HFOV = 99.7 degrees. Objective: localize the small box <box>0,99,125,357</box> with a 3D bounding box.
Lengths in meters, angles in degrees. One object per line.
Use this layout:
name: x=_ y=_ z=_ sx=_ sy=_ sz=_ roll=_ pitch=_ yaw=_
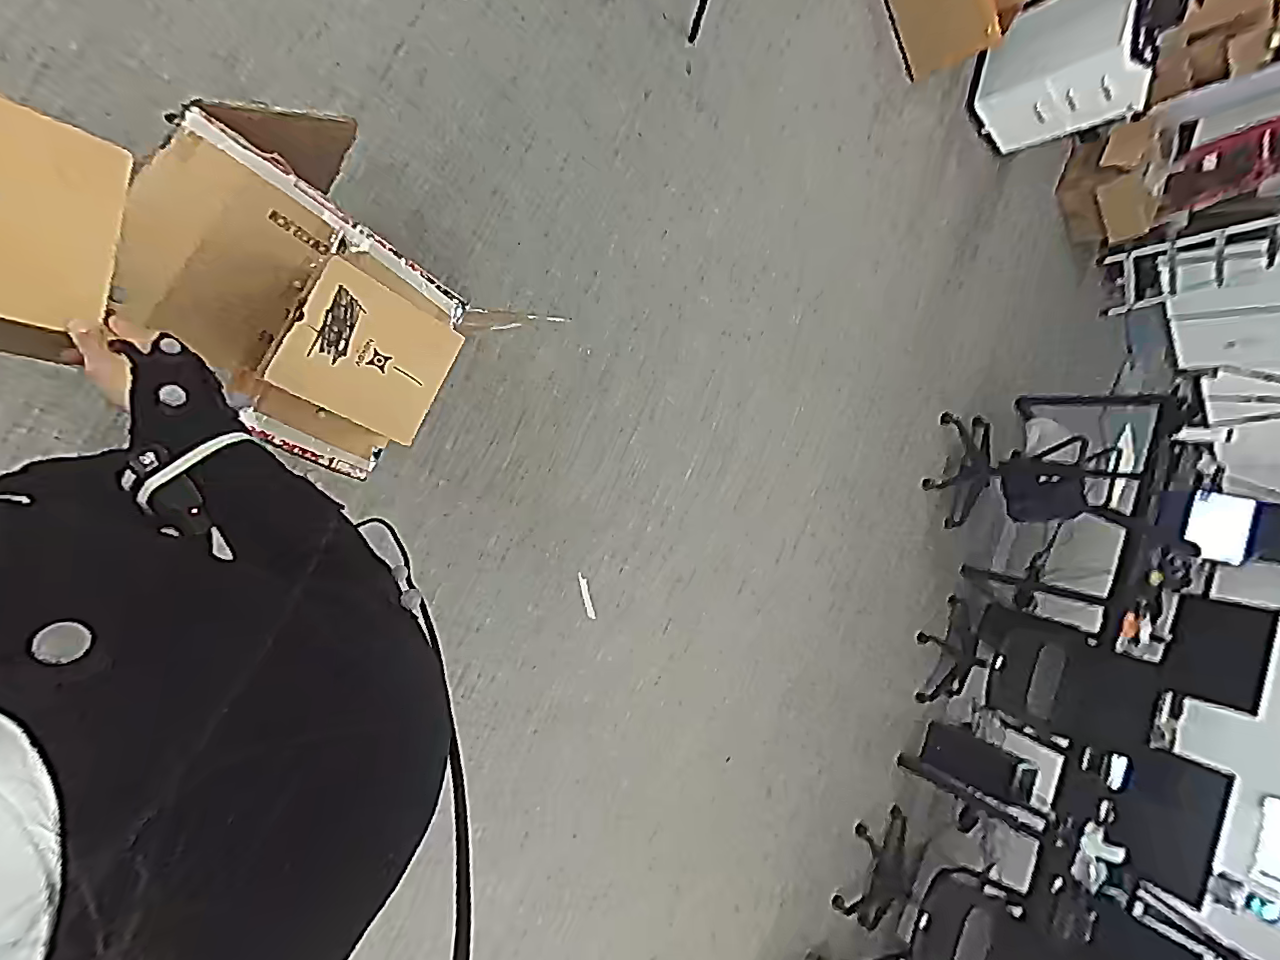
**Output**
small box: x=-0.554 y=-0.205 z=0.433 sx=0.179 sy=0.176 sz=0.168 roll=10 pitch=82 yaw=-48
